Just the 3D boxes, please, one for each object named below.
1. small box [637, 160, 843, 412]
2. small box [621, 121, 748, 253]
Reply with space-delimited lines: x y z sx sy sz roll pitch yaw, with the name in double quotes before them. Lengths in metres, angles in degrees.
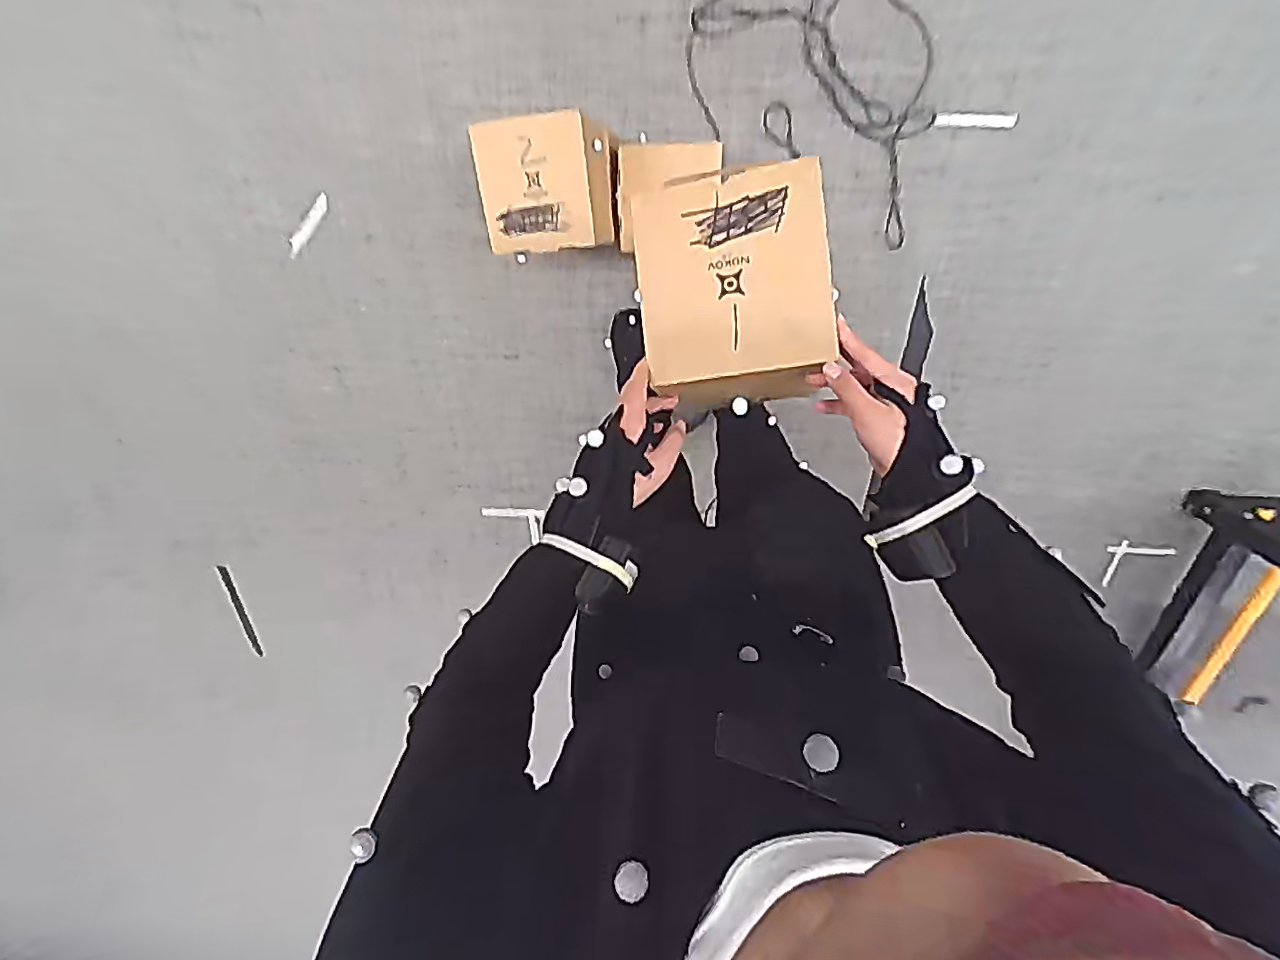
"small box" 0.099 -0.174 0.544 0.168 0.176 0.179 -6 88 13
"small box" 0.073 -0.478 0.932 0.168 0.176 0.179 18 129 -18
